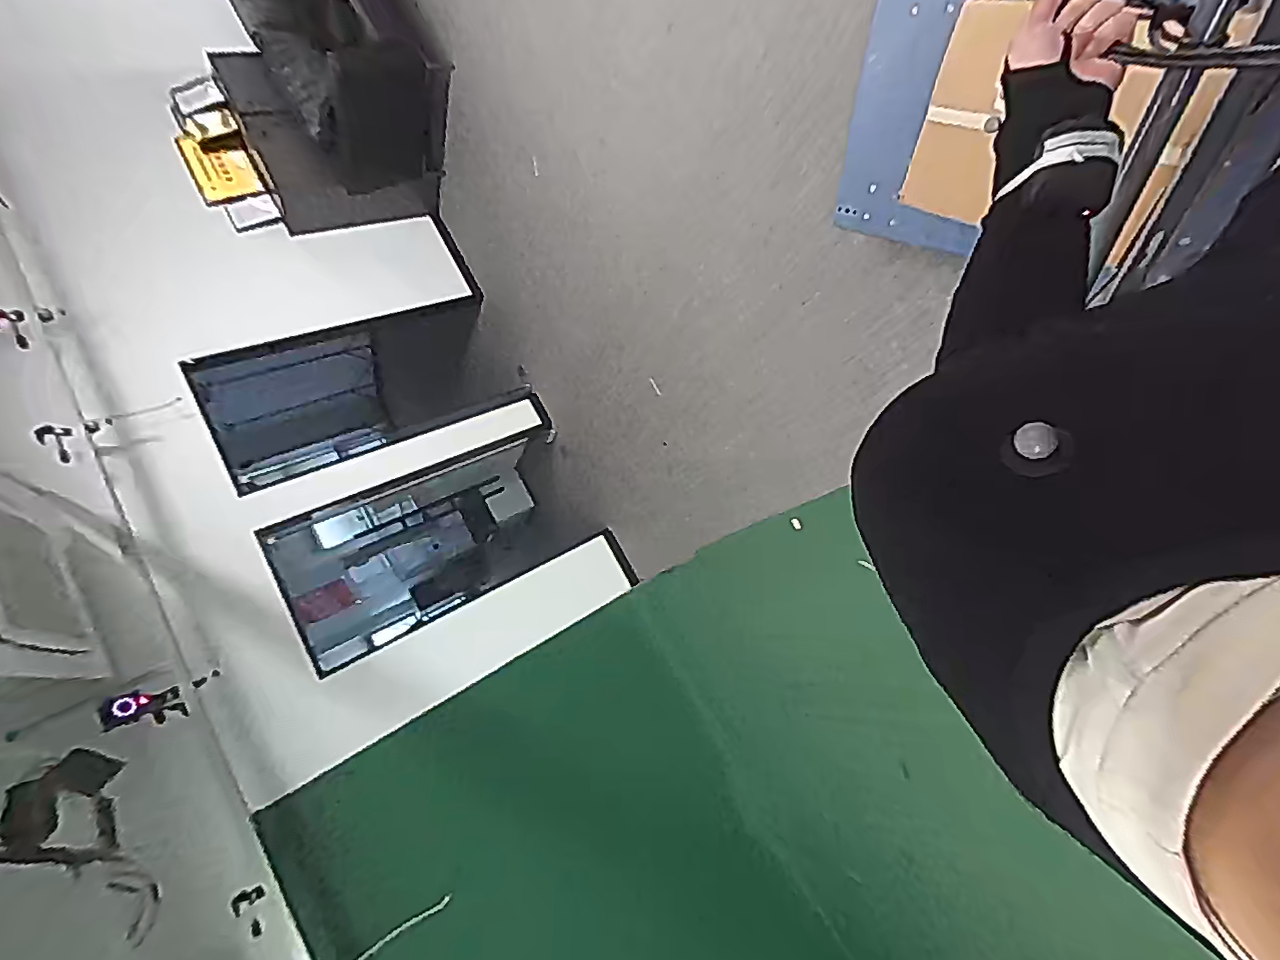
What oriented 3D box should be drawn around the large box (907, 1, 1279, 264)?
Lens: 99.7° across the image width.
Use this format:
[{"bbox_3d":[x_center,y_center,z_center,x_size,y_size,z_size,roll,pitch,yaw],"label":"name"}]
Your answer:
[{"bbox_3d":[0.774,-0.614,0.933,0.408,0.320,0.320,44,145,36],"label":"large box"}]
